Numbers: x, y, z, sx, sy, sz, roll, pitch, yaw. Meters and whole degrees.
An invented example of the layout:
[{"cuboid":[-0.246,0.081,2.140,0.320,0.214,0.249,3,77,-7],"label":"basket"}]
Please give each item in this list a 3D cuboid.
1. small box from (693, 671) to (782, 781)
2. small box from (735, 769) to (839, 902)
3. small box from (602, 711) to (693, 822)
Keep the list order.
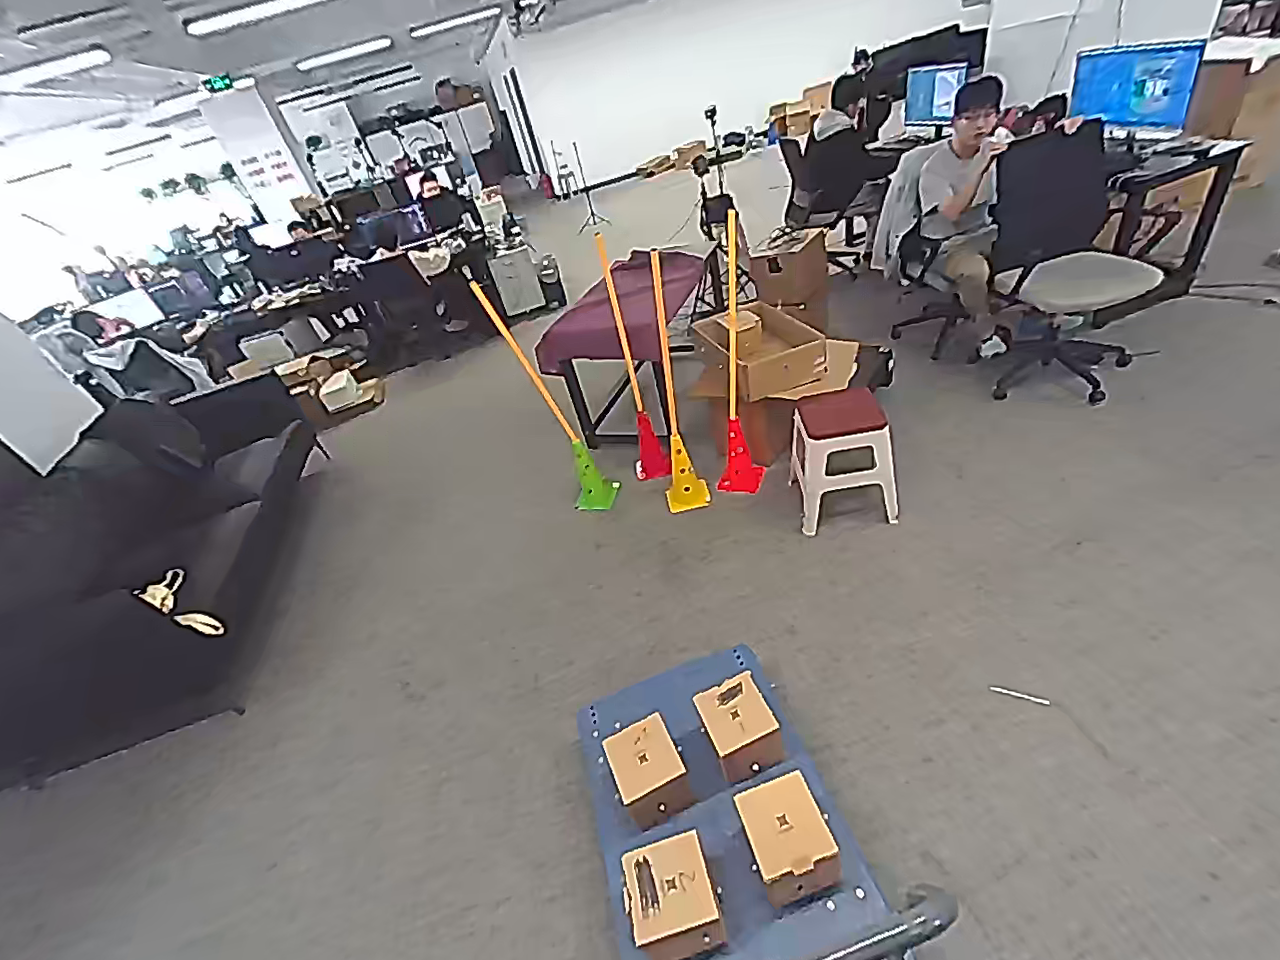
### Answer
[{"cuboid":[0.258,0.648,1.425,0.168,0.176,0.179,-23,38,-7],"label":"small box"},{"cuboid":[0.327,0.795,1.211,0.168,0.176,0.179,-20,37,-4],"label":"small box"},{"cuboid":[0.023,0.744,1.393,0.168,0.176,0.179,-23,37,-10],"label":"small box"}]
